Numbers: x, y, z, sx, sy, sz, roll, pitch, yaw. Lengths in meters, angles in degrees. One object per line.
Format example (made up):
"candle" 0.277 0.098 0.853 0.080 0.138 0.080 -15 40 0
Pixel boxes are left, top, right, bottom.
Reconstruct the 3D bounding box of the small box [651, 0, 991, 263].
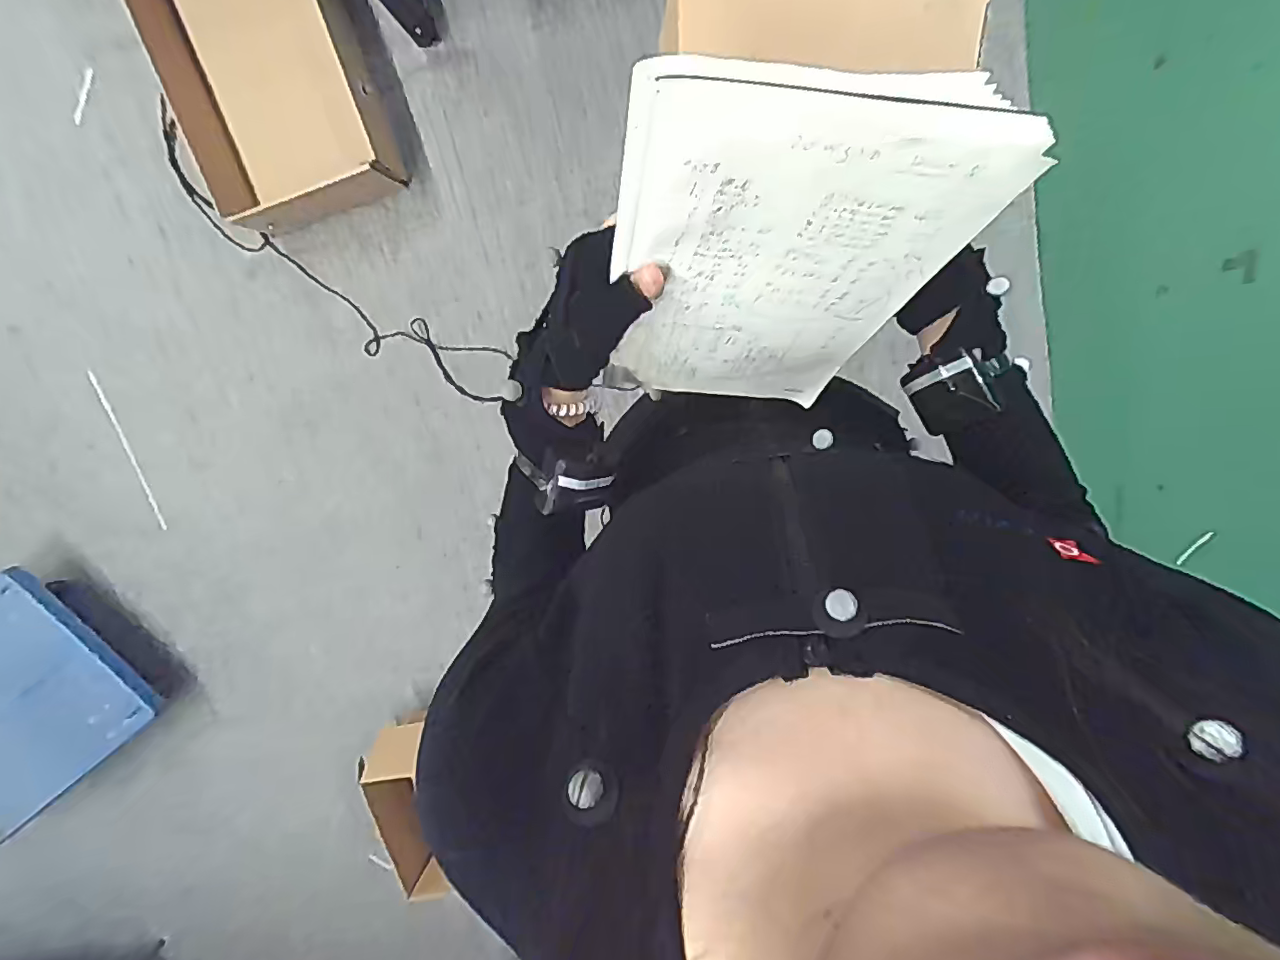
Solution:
"small box" 0.103 -0.247 0.386 0.179 0.176 0.168 -2 111 -3
